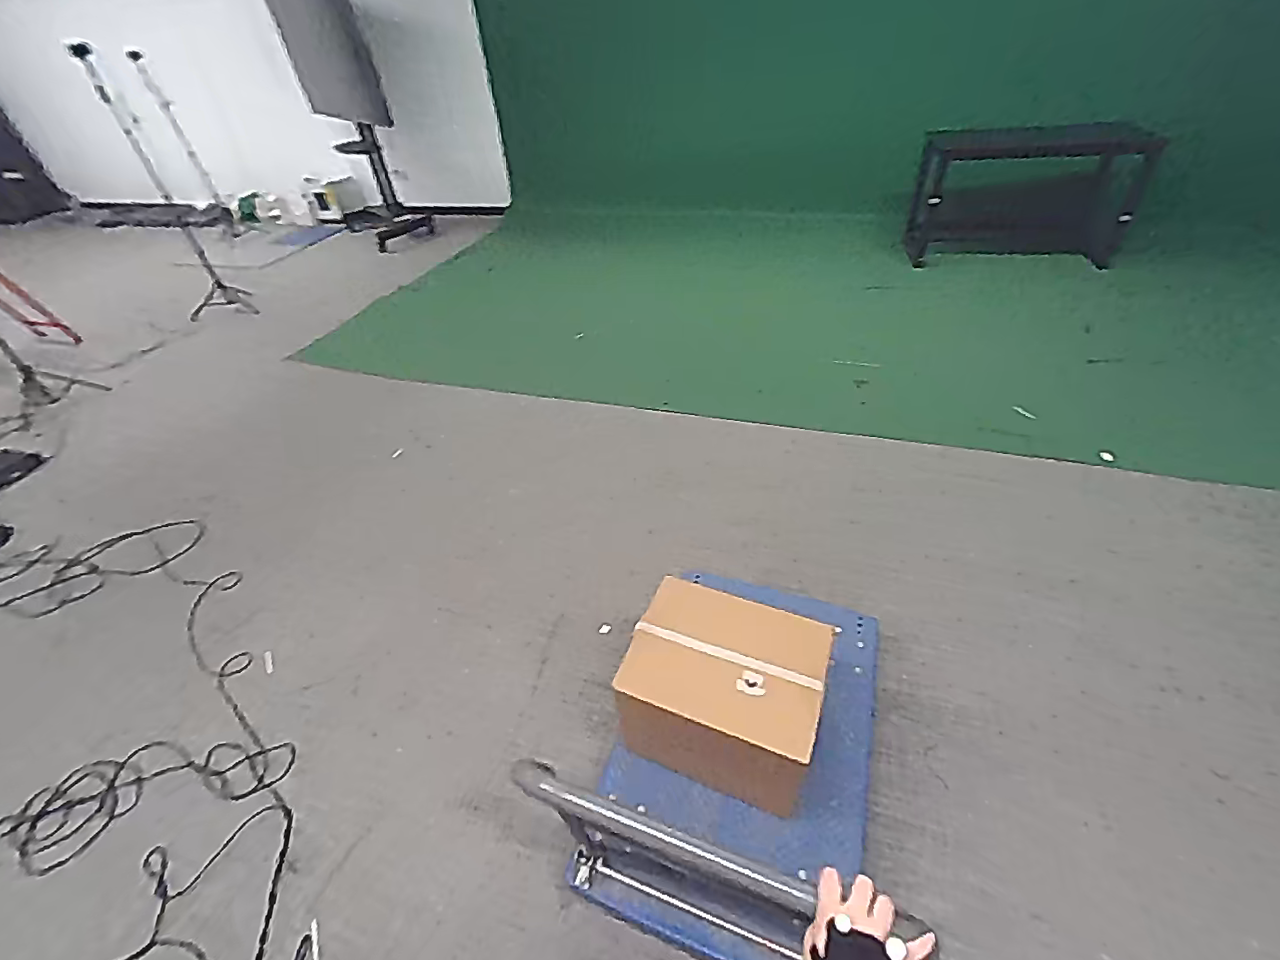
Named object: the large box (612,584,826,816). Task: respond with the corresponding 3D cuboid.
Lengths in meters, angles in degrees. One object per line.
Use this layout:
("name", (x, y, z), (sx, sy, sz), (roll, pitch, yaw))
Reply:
("large box", (0.183, 0.502, 1.265), (0.408, 0.320, 0.320), (14, 44, 19))
